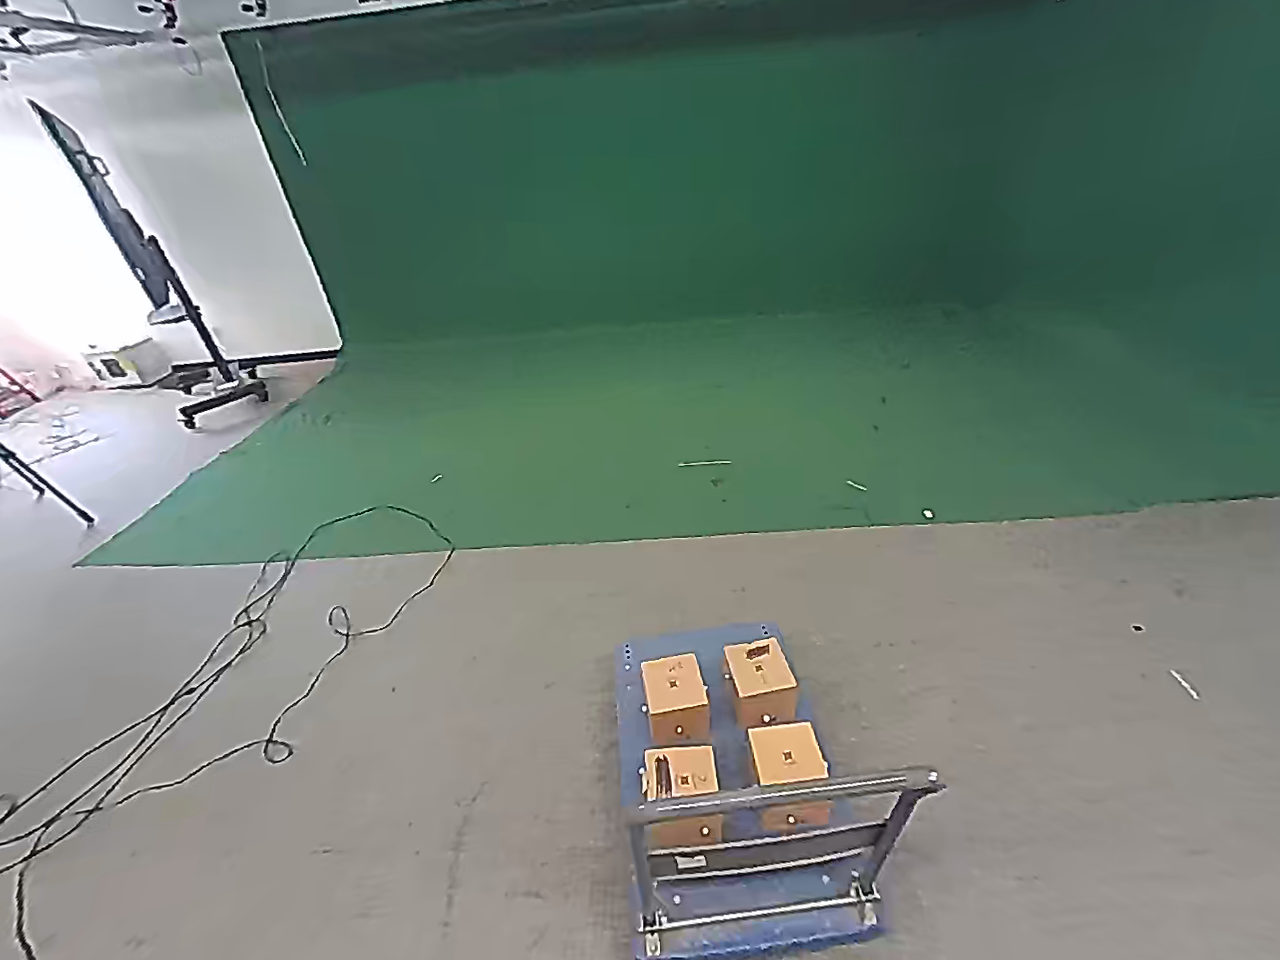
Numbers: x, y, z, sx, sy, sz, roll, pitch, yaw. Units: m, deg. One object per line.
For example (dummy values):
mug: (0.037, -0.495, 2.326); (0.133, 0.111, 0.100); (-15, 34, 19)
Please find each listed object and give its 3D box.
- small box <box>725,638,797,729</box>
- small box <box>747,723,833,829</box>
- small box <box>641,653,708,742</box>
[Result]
small box: (0.350, 0.602, 1.602); (0.168, 0.176, 0.179); (-10, 35, -4)
small box: (0.374, 0.753, 1.379); (0.168, 0.176, 0.179); (-6, 35, -1)
small box: (0.101, 0.642, 1.582); (0.168, 0.176, 0.179); (-8, 34, -4)
